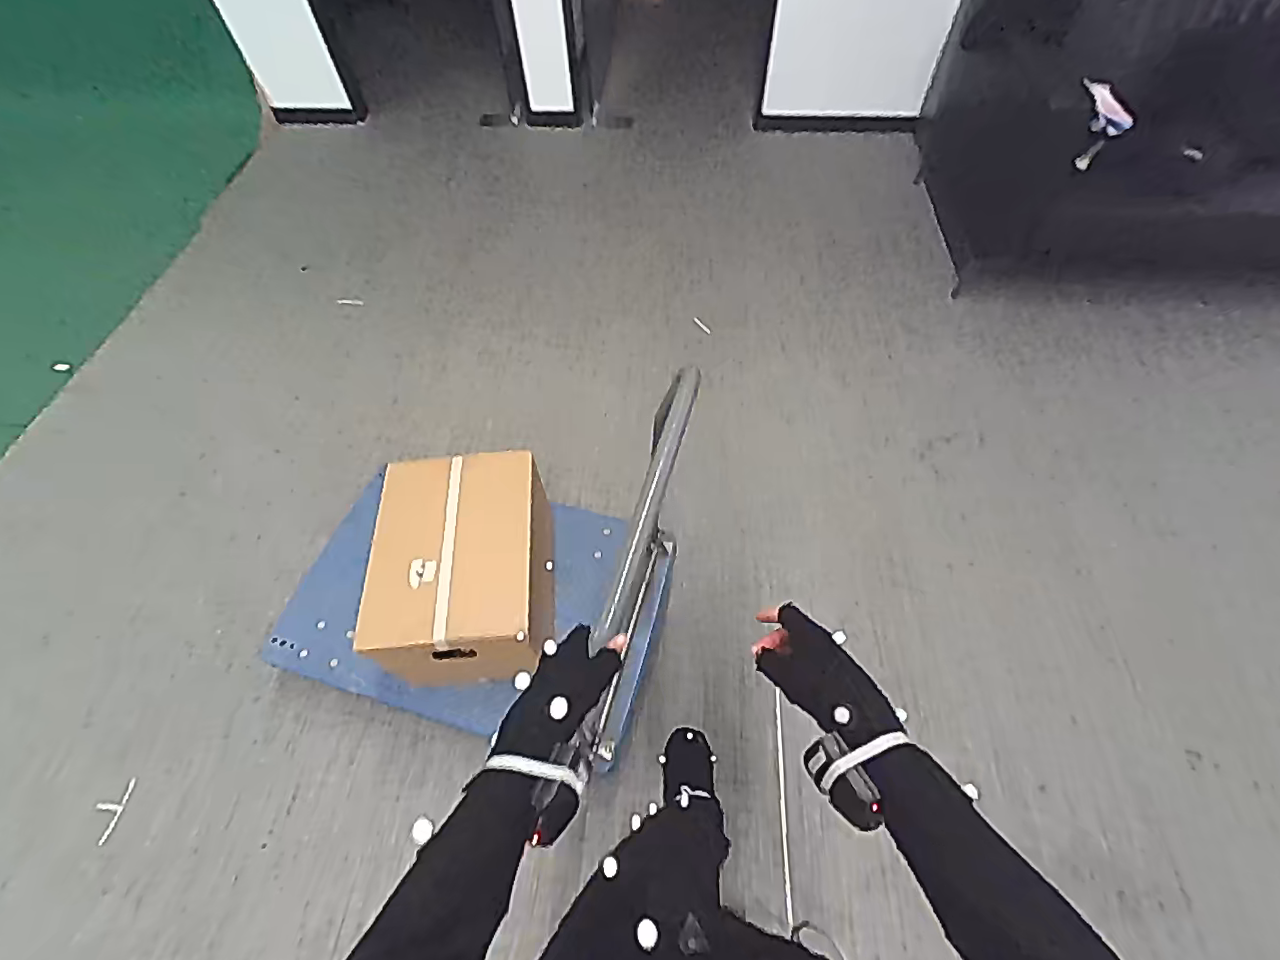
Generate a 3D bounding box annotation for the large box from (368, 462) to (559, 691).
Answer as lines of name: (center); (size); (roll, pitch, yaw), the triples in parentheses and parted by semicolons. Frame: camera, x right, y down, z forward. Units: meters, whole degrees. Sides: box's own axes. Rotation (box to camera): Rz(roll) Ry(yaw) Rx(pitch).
large box: (-0.357, 0.218, 1.203); (0.320, 0.320, 0.408); (-6, 58, -1)
